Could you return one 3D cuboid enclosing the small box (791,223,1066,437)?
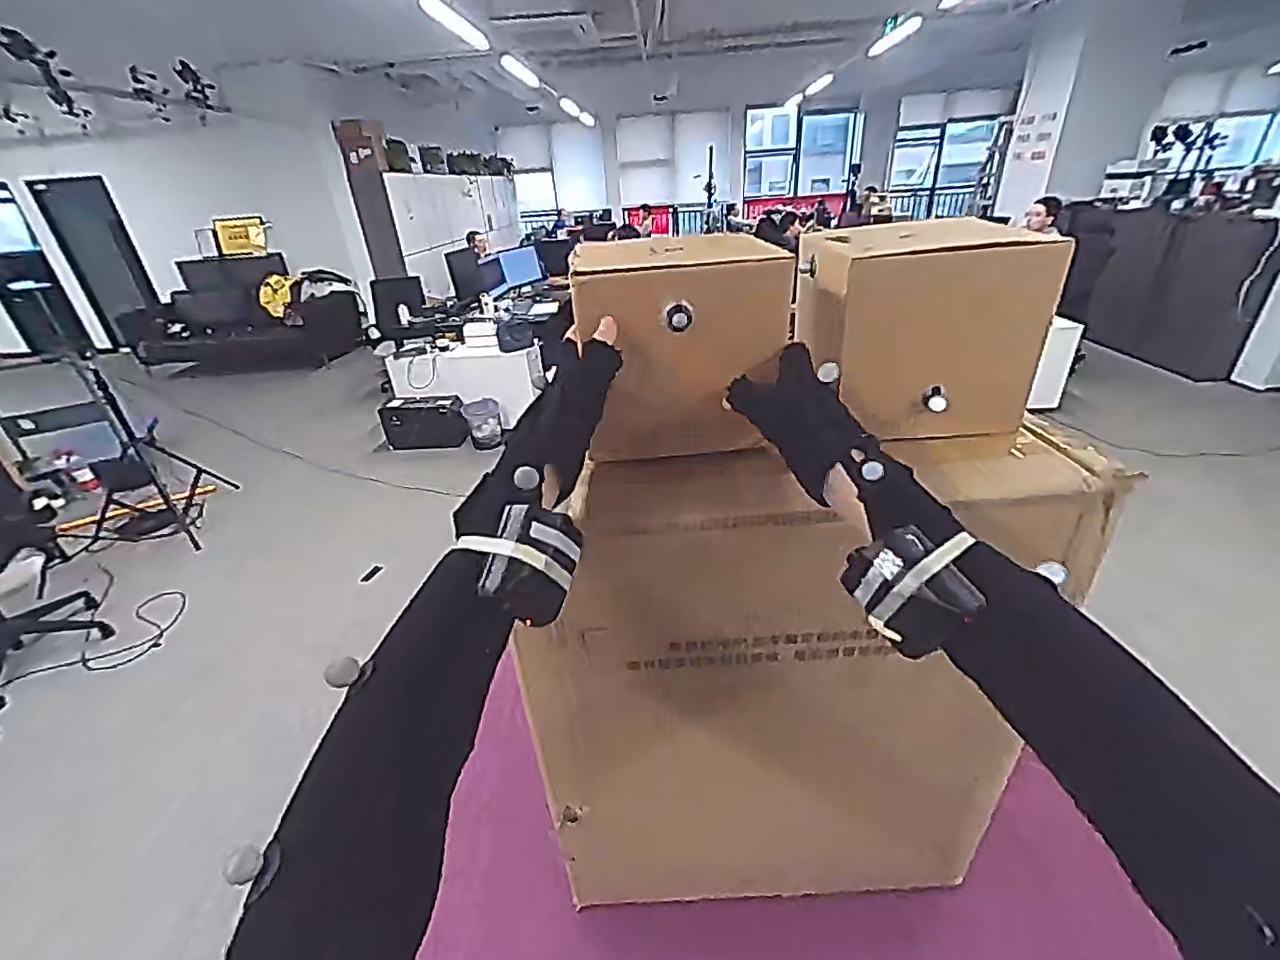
[{"bbox_3d":[0.259,-0.152,0.539,0.179,0.176,0.168,-3,29,3],"label":"small box"}]
